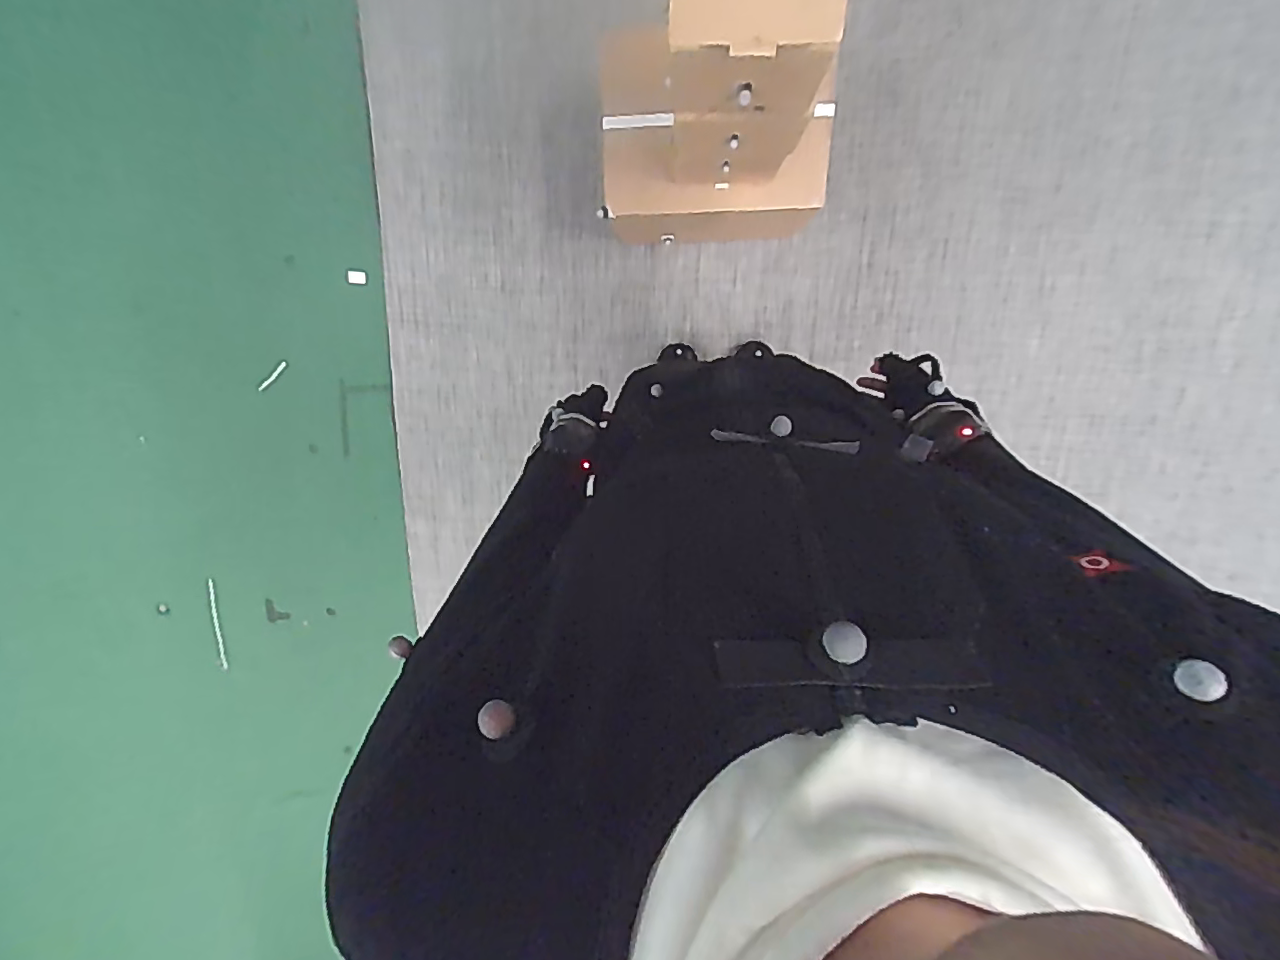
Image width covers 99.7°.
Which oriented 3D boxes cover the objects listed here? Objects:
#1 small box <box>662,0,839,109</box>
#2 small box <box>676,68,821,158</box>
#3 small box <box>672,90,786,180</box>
[{"bbox_3d":[0.118,-0.516,0.568,0.168,0.176,0.179,5,107,5],"label":"small box"},{"bbox_3d":[0.136,-0.551,0.727,0.179,0.176,0.168,-2,106,6],"label":"small box"},{"bbox_3d":[0.145,-0.601,0.883,0.179,0.176,0.168,2,106,4],"label":"small box"}]
